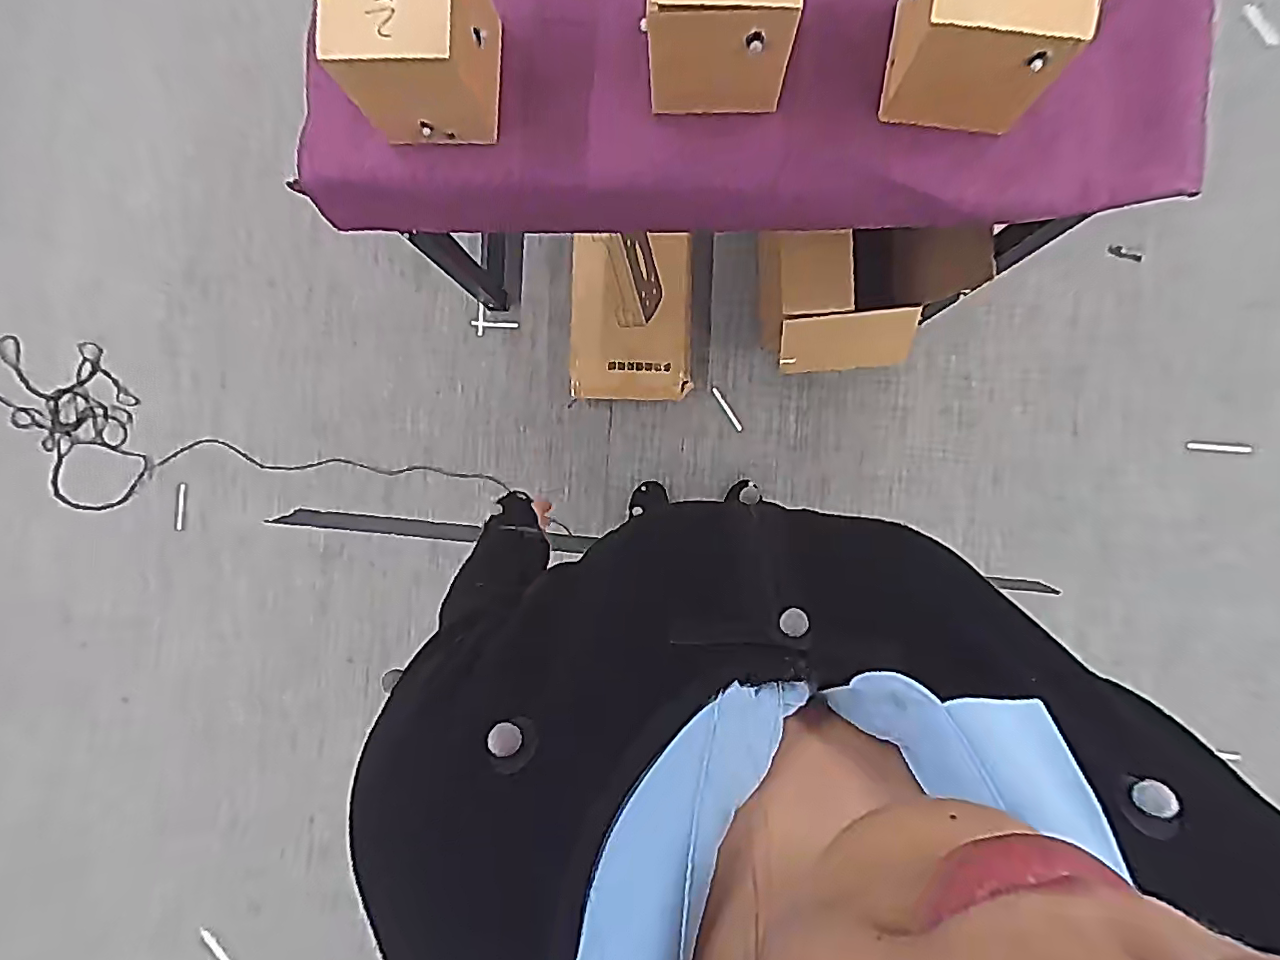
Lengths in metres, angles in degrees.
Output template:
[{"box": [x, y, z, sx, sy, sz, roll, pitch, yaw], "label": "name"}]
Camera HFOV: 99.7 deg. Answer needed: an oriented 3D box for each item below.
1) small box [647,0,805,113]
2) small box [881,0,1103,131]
[{"box": [0.103, -0.598, 0.681, 0.179, 0.176, 0.168, 2, 88, 4], "label": "small box"}, {"box": [0.419, -0.563, 0.660, 0.179, 0.176, 0.168, 9, 91, 4], "label": "small box"}]
